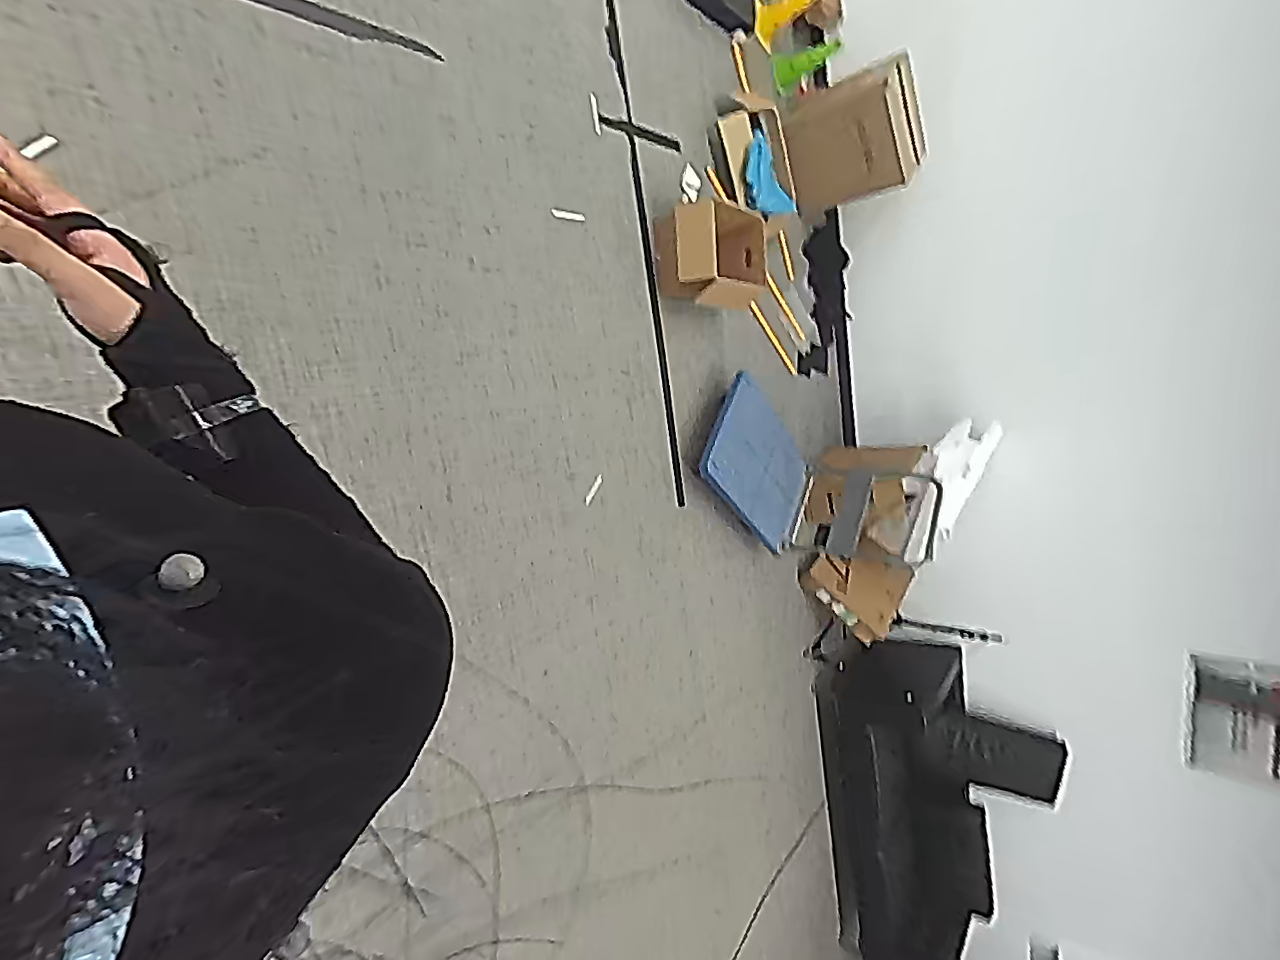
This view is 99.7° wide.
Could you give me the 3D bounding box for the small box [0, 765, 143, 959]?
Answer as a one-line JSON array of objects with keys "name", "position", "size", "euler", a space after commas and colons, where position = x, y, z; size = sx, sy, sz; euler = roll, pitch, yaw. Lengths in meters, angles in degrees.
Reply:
[{"name": "small box", "position": [-0.962, 0.611, 0.881], "size": [0.179, 0.176, 0.168], "euler": [-28, 111, -45]}]
